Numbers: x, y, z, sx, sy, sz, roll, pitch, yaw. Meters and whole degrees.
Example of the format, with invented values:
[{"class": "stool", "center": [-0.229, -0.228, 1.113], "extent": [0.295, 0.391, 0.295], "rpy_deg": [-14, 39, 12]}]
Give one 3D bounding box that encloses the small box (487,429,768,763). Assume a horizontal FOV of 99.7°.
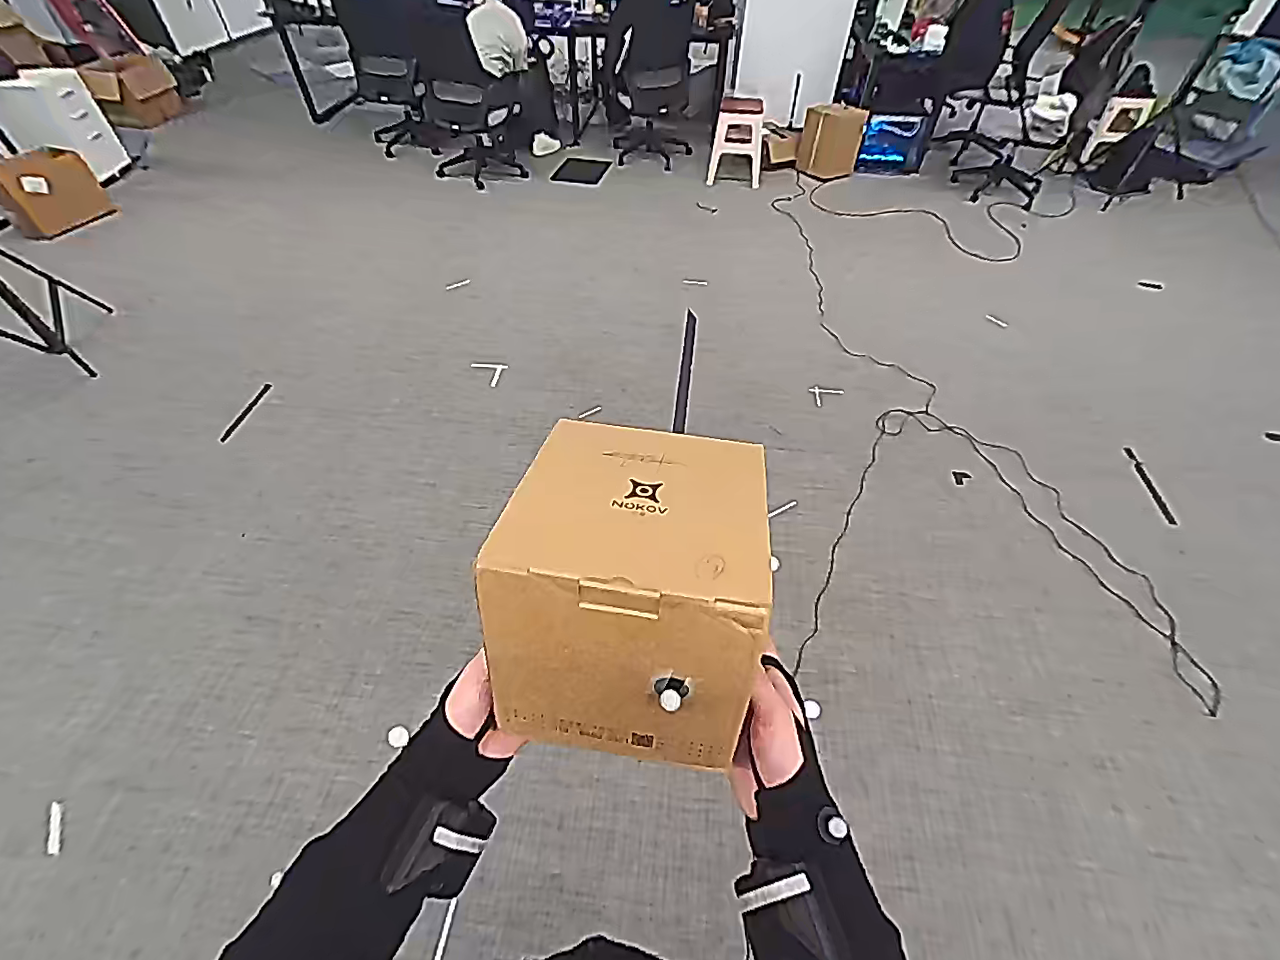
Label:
[{"class": "small box", "center": [-0.001, 0.082, 0.416], "extent": [0.168, 0.176, 0.179], "rpy_deg": [9, 32, 5]}]
